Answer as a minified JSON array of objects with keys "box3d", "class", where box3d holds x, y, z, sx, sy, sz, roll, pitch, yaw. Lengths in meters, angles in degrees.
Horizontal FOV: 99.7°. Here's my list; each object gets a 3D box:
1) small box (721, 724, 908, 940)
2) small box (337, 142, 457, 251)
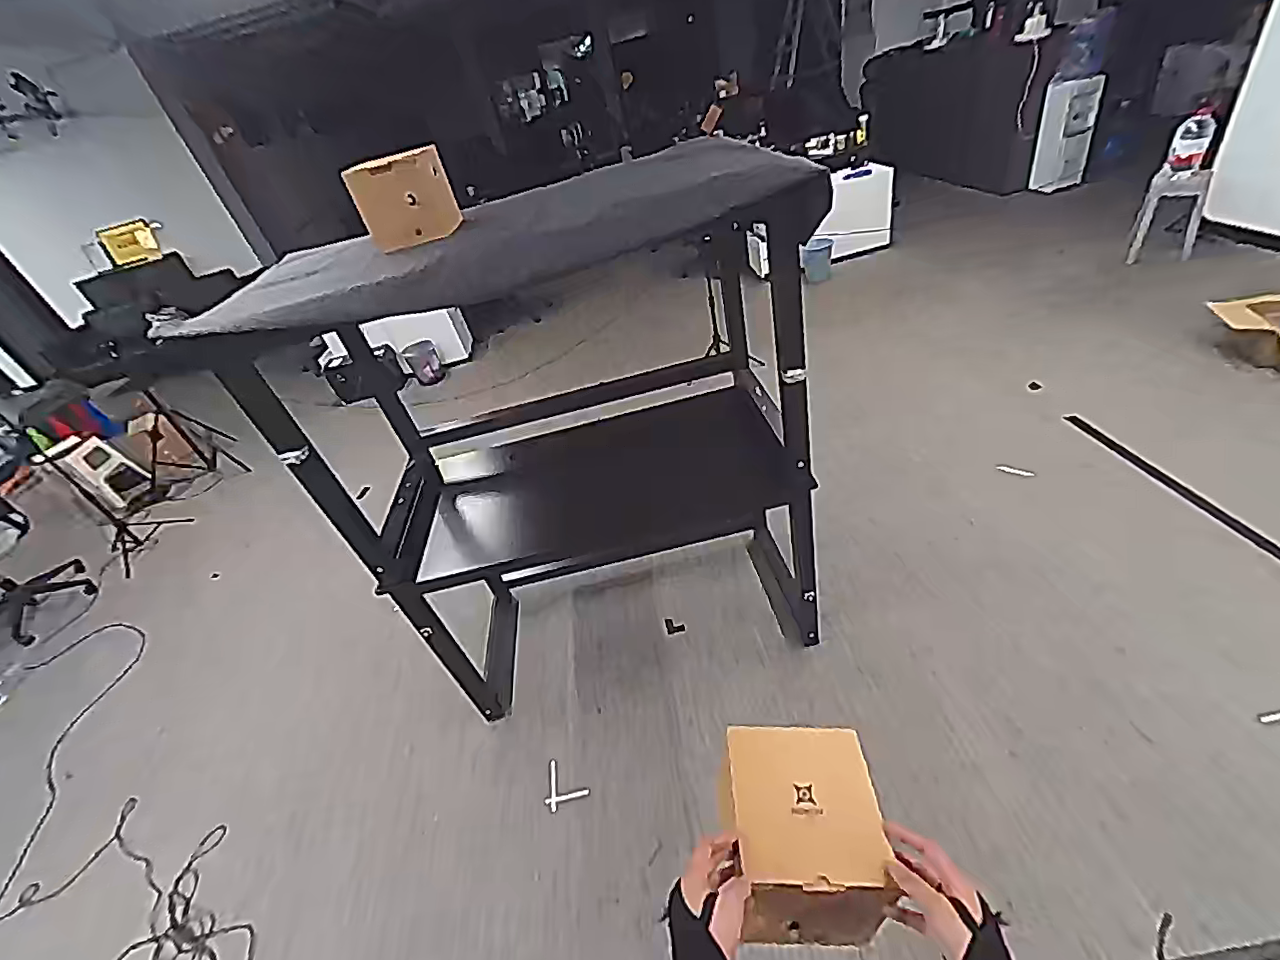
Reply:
[{"box3d":[0.195,0.428,0.665,0.168,0.176,0.179,0,36,1],"class":"small box"},{"box3d":[-0.529,-0.629,1.210,0.168,0.176,0.179,-12,38,4],"class":"small box"}]
